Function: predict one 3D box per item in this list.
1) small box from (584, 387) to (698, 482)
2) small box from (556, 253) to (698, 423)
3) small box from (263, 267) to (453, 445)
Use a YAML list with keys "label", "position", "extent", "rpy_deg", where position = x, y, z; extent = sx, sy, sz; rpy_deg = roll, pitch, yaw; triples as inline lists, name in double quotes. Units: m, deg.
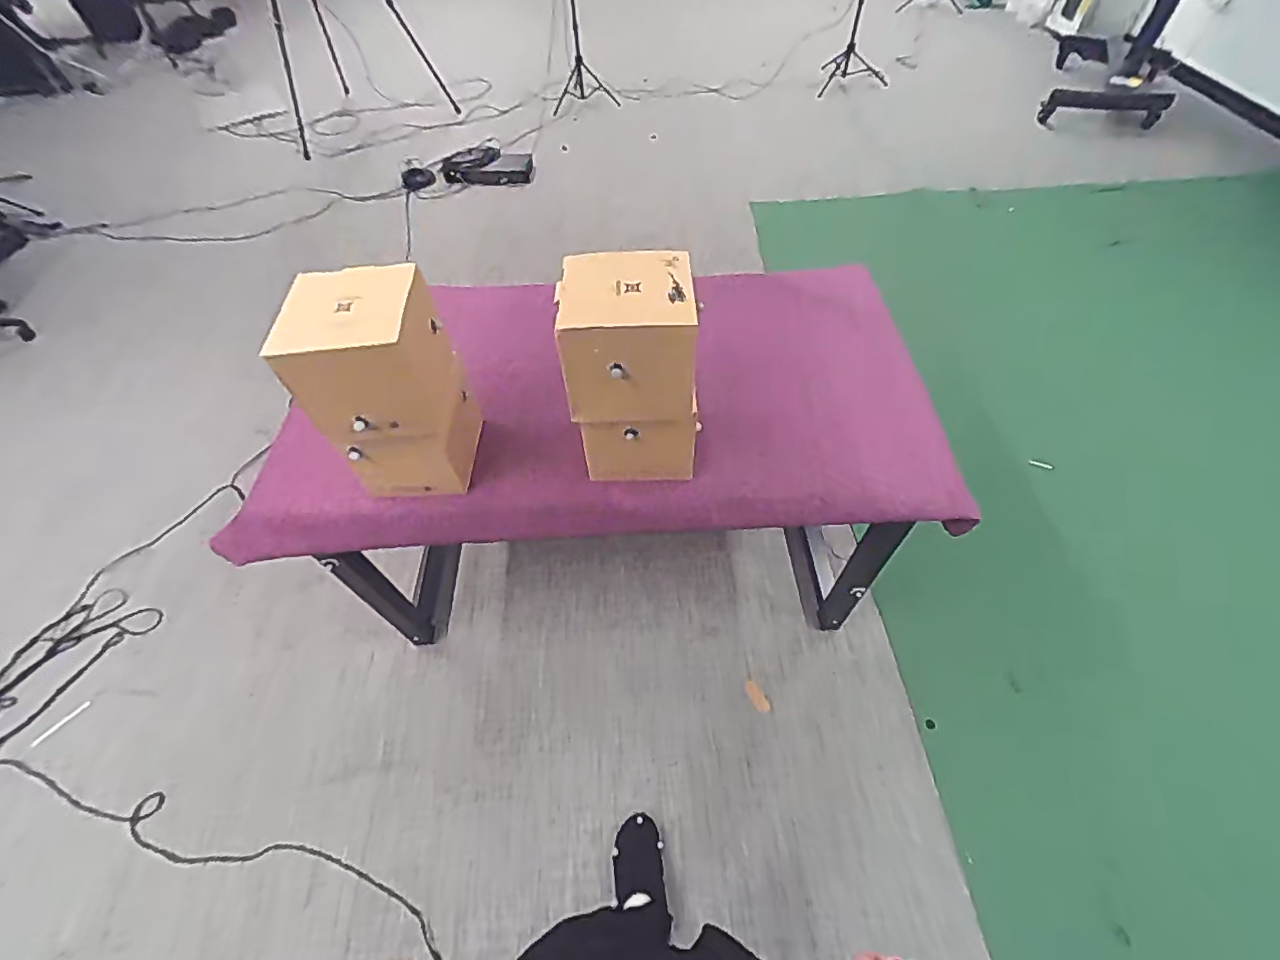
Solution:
- label: "small box"
  position: [0.003, -0.108, 0.899]
  extent: [0.179, 0.176, 0.168]
  rpy_deg: [0, 53, 1]
- label: "small box"
  position: [-0.012, -0.193, 0.759]
  extent: [0.179, 0.176, 0.168]
  rpy_deg: [-2, 54, 2]
- label: "small box"
  position: [-0.373, -0.171, 0.757]
  extent: [0.168, 0.176, 0.179]
  rpy_deg: [-6, 53, -2]
